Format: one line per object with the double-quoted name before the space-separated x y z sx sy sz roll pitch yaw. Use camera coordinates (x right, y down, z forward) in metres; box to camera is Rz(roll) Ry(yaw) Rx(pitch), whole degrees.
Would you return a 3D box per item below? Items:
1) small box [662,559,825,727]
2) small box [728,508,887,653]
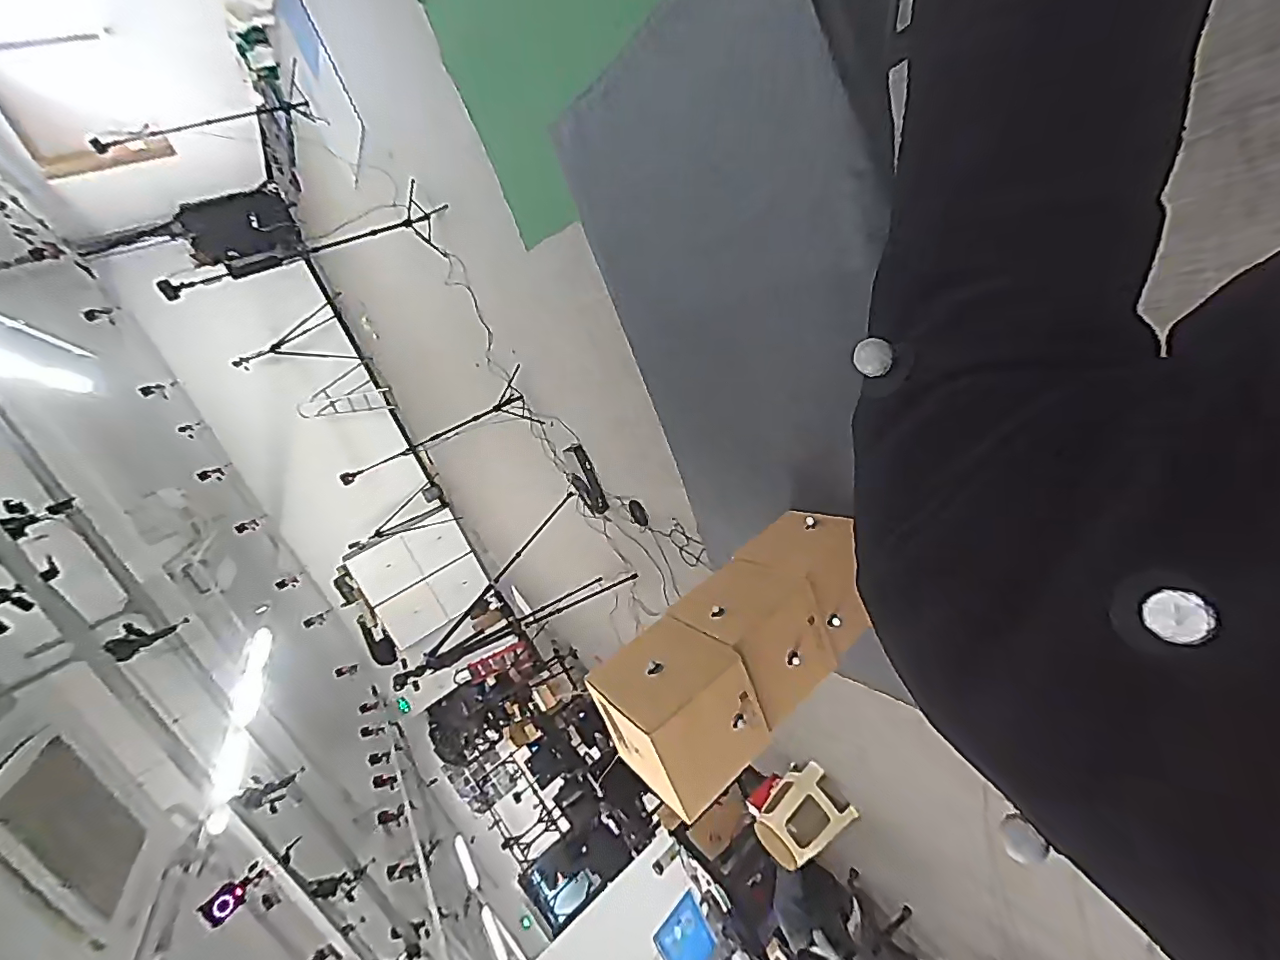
"small box" 0.171 0.246 0.866 0.179 0.176 0.168 7 124 58
"small box" 0.291 0.162 0.942 0.179 0.176 0.168 6 123 59
